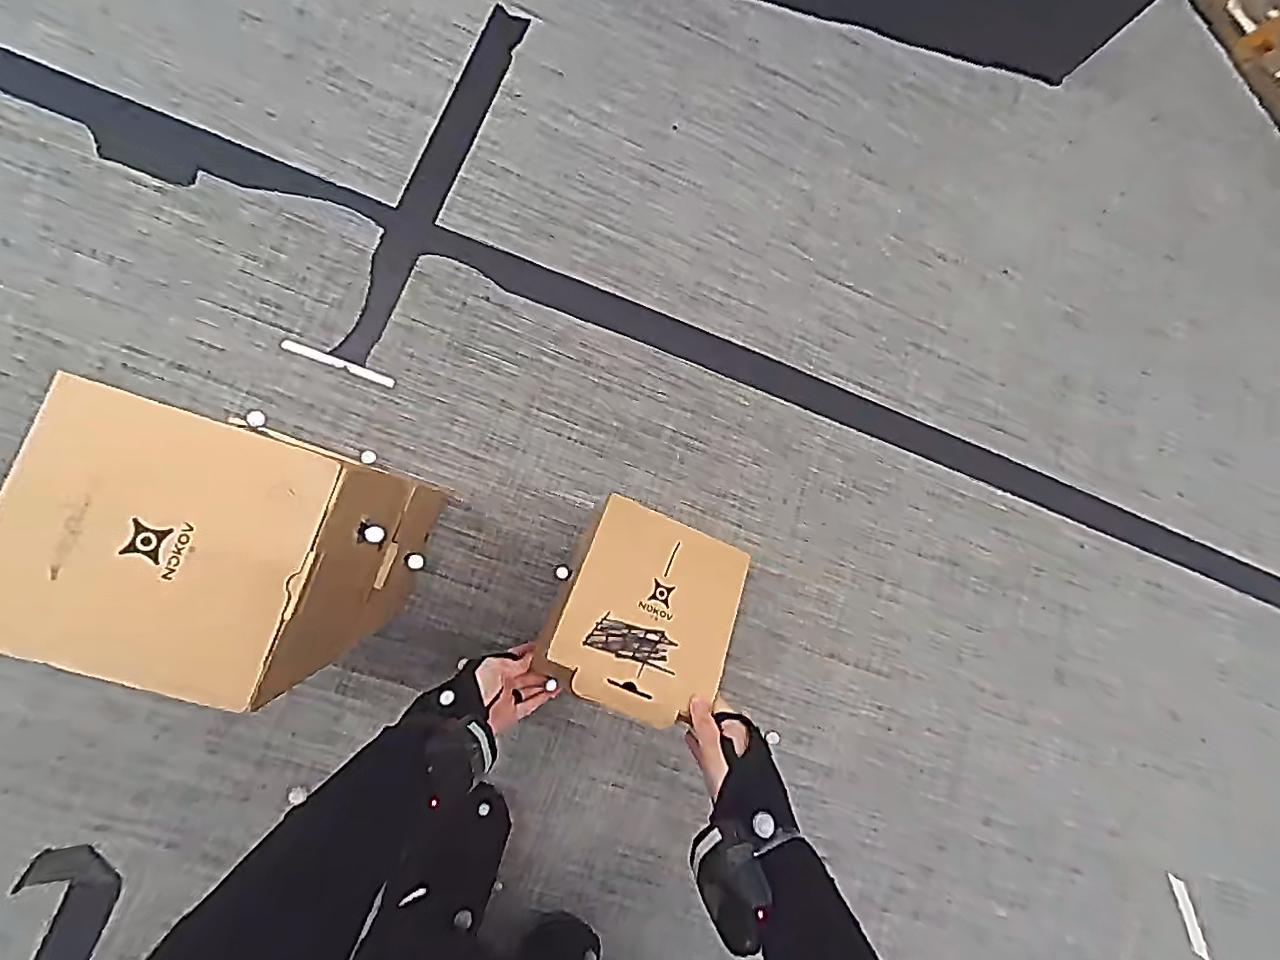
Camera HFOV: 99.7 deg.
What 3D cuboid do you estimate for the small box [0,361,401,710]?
[{"bbox_3d":[-0.304,0.038,0.396,0.179,0.176,0.168,20,83,-7],"label":"small box"}]

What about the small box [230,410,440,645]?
[{"bbox_3d":[-0.329,0.046,0.558,0.179,0.176,0.168,22,83,-8],"label":"small box"}]

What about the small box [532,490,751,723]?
[{"bbox_3d":[-0.007,0.142,0.584,0.168,0.176,0.179,25,63,-8],"label":"small box"}]
